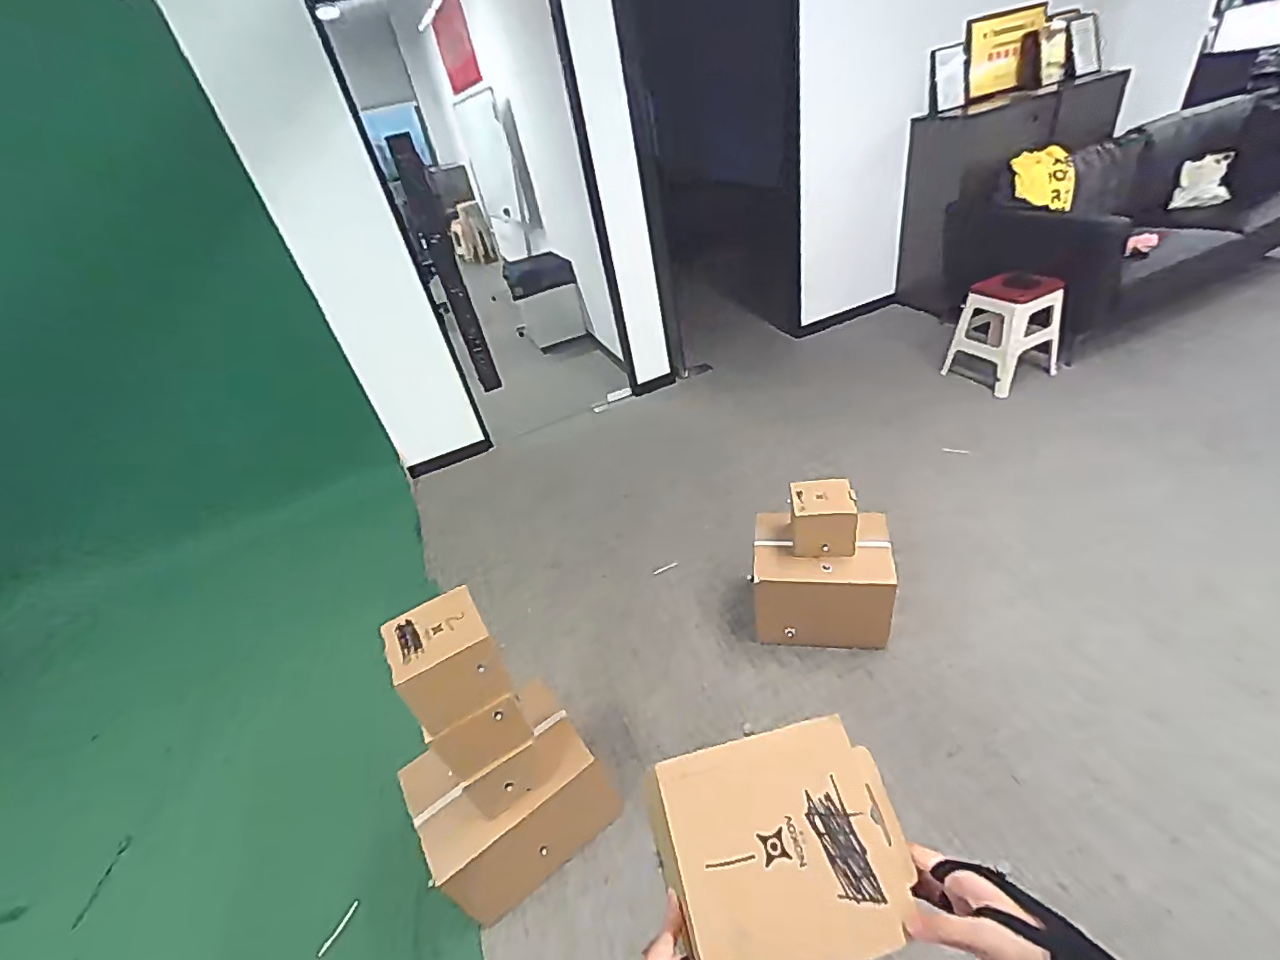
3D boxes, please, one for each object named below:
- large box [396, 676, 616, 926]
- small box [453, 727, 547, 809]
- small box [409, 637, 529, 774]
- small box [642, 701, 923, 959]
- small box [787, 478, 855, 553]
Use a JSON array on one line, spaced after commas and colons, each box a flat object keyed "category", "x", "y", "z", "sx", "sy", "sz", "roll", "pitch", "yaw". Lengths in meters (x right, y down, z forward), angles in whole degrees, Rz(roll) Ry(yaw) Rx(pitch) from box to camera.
[{"category": "large box", "x": -0.329, "y": 0.803, "z": 1.385, "sx": 0.408, "sy": 0.320, "sz": 0.320, "roll": -31, "pitch": 39, "yaw": -23}, {"category": "small box", "x": -0.331, "y": 0.609, "z": 1.230, "sx": 0.168, "sy": 0.176, "sz": 0.179, "roll": -26, "pitch": 39, "yaw": -20}, {"category": "small box", "x": -0.358, "y": 0.476, "z": 1.141, "sx": 0.179, "sy": 0.176, "sz": 0.168, "roll": -25, "pitch": 38, "yaw": -19}, {"category": "small box", "x": 0.108, "y": 0.319, "z": 0.500, "sx": 0.179, "sy": 0.176, "sz": 0.168, "roll": -10, "pitch": 60, "yaw": -11}, {"category": "small box", "x": 0.547, "y": 0.112, "z": 1.653, "sx": 0.179, "sy": 0.176, "sz": 0.168, "roll": -2, "pitch": 35, "yaw": 11}]
